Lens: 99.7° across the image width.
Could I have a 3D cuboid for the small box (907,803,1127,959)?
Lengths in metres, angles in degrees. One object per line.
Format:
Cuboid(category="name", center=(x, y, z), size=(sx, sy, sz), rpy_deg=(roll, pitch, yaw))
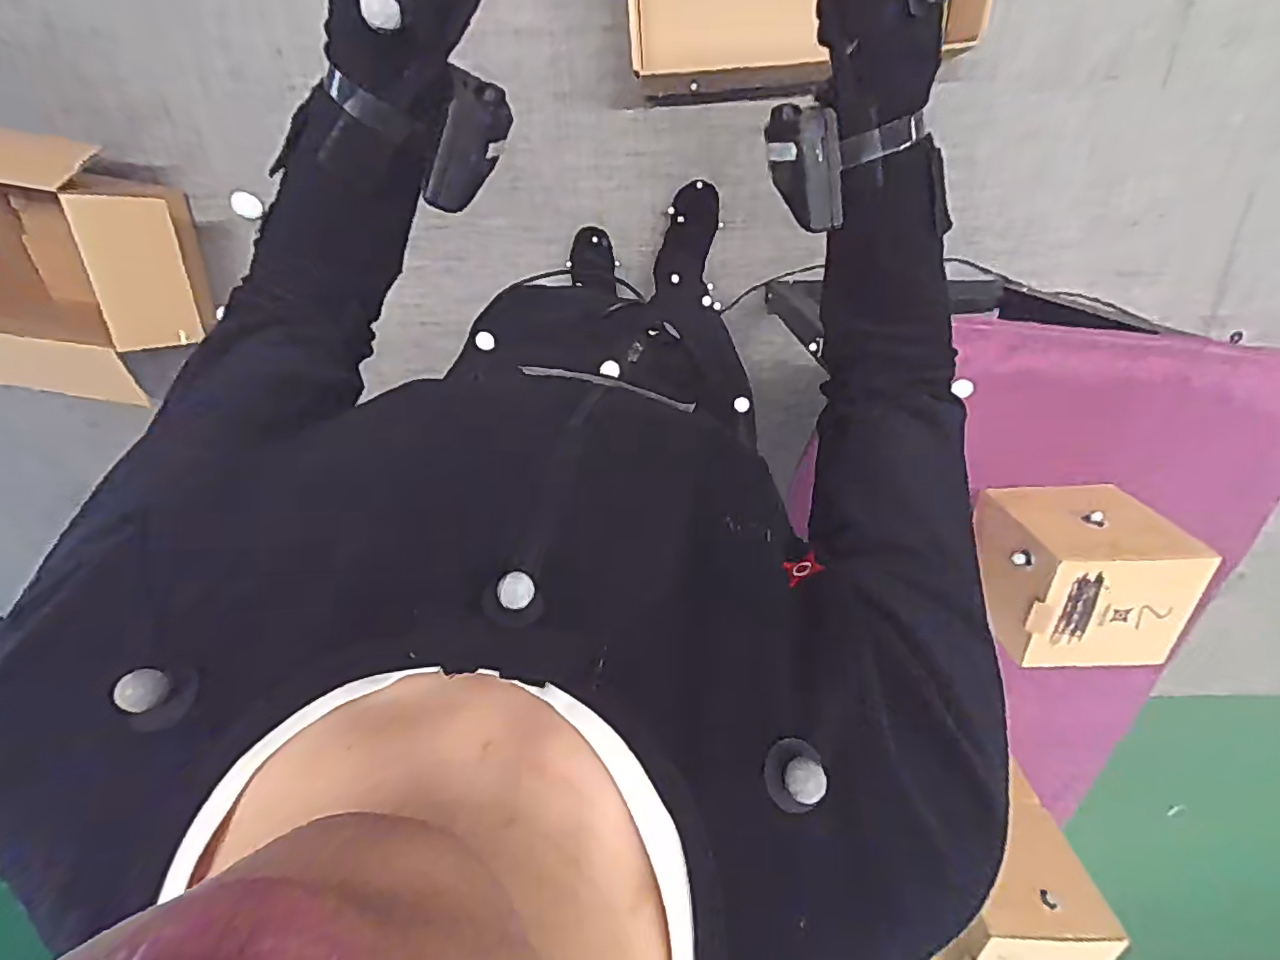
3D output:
Cuboid(category="small box", center=(0.523, 0.597, 0.783), size=(0.179, 0.176, 0.168), rpy_deg=(1, 118, 1))
